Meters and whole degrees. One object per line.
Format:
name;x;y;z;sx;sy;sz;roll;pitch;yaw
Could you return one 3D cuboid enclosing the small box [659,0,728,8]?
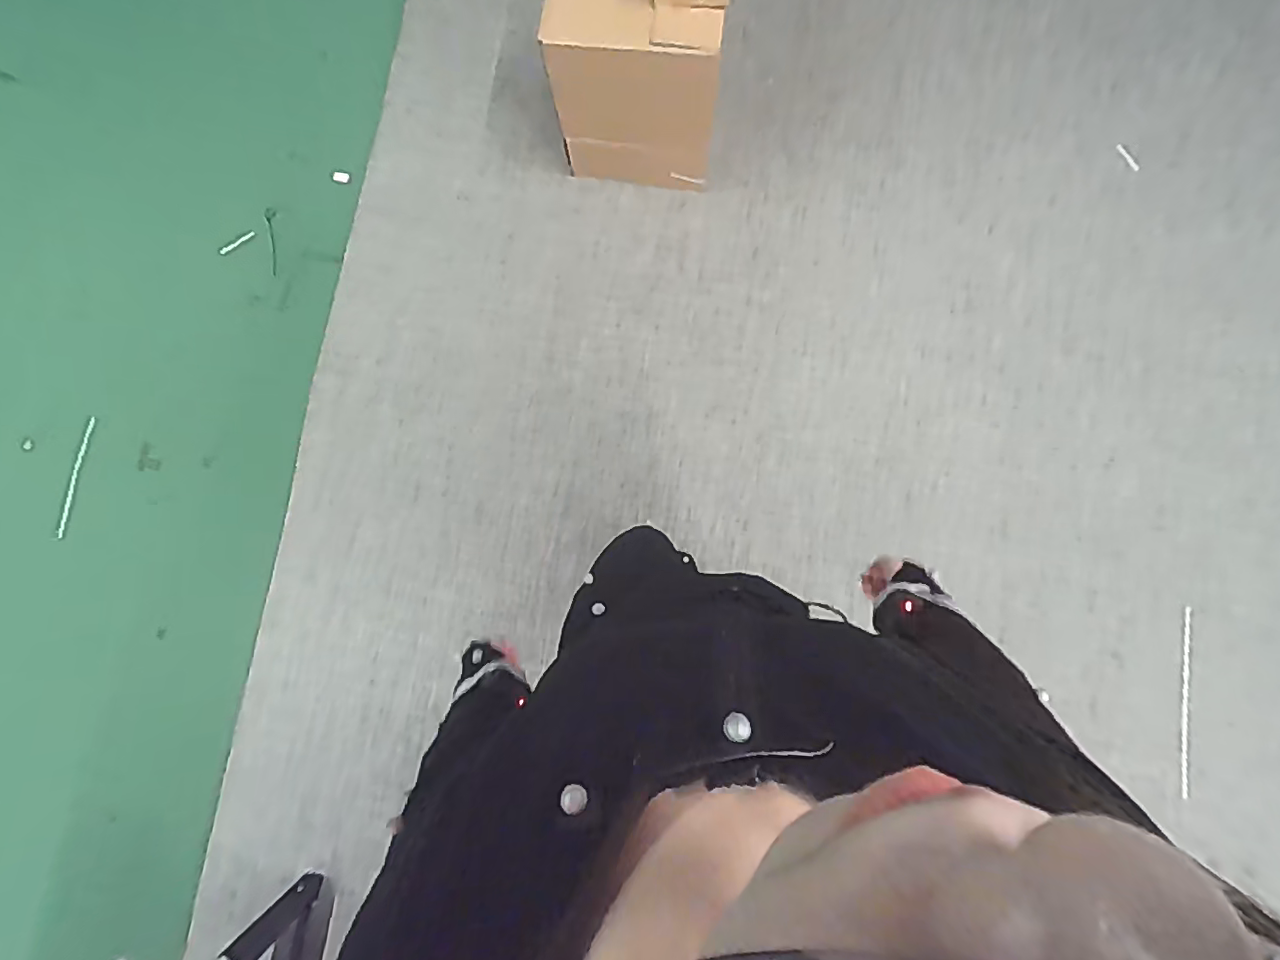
small box;0.116;-1.149;1.132;0.168;0.176;0.179;4;84;5
